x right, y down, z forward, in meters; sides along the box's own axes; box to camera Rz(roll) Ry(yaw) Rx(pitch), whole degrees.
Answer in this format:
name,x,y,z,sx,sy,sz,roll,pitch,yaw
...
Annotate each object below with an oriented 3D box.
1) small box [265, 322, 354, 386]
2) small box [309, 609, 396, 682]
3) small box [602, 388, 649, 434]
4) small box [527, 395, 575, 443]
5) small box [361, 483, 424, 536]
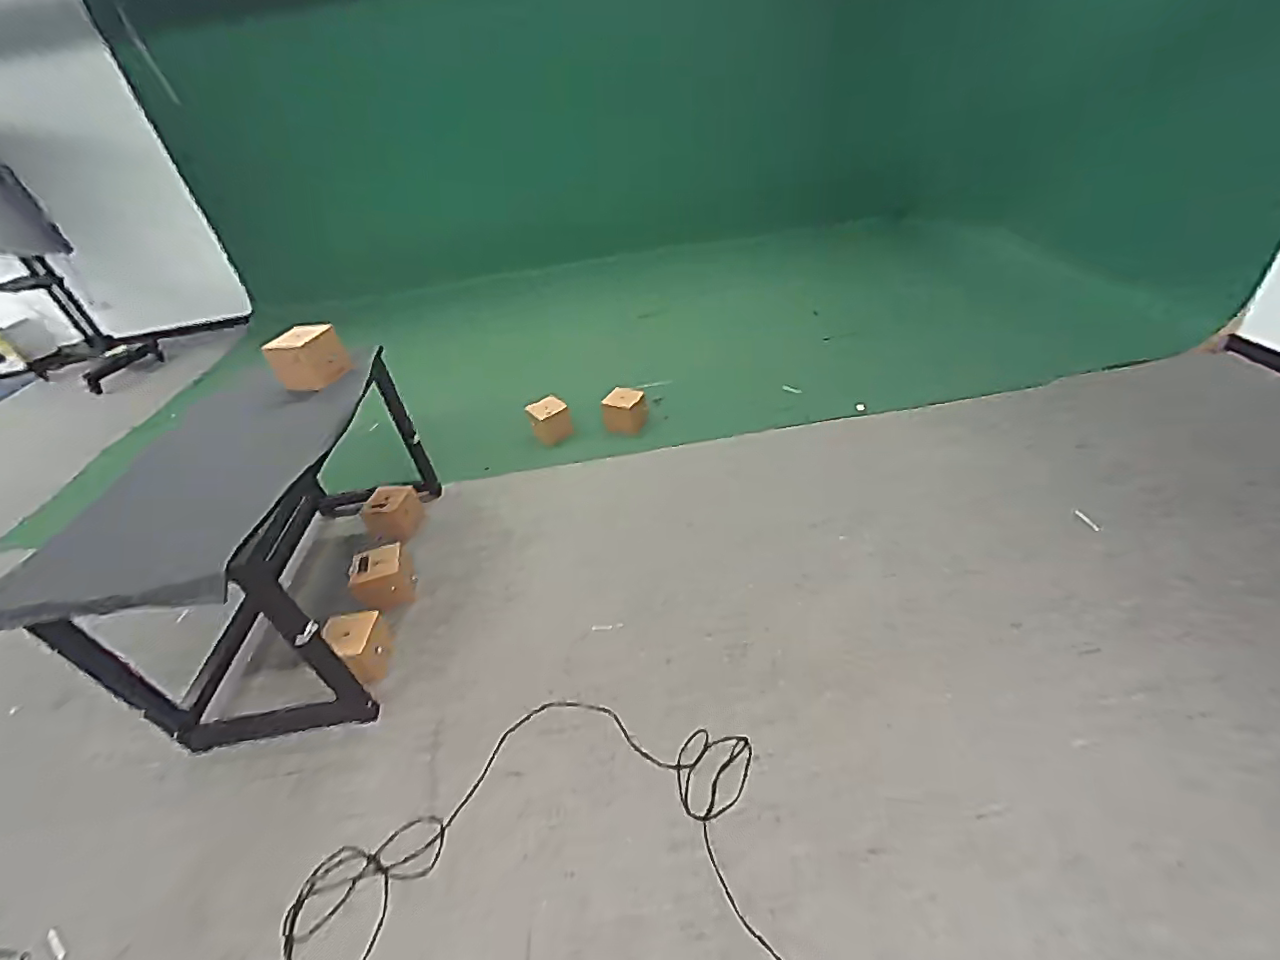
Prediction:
name,x,y,z,sx,sy,sz,roll,pitch,yaw
small box,-1.164,-0.445,1.921,0.179,0.176,0.168,2,39,17
small box,-0.949,0.556,1.808,0.179,0.176,0.168,-7,38,3
small box,-0.069,-0.354,2.785,0.179,0.176,0.168,13,42,27
small box,-0.462,-0.314,2.810,0.168,0.176,0.179,-30,42,-25
small box,-1.071,0.132,2.360,0.168,0.176,0.179,-1,37,9
